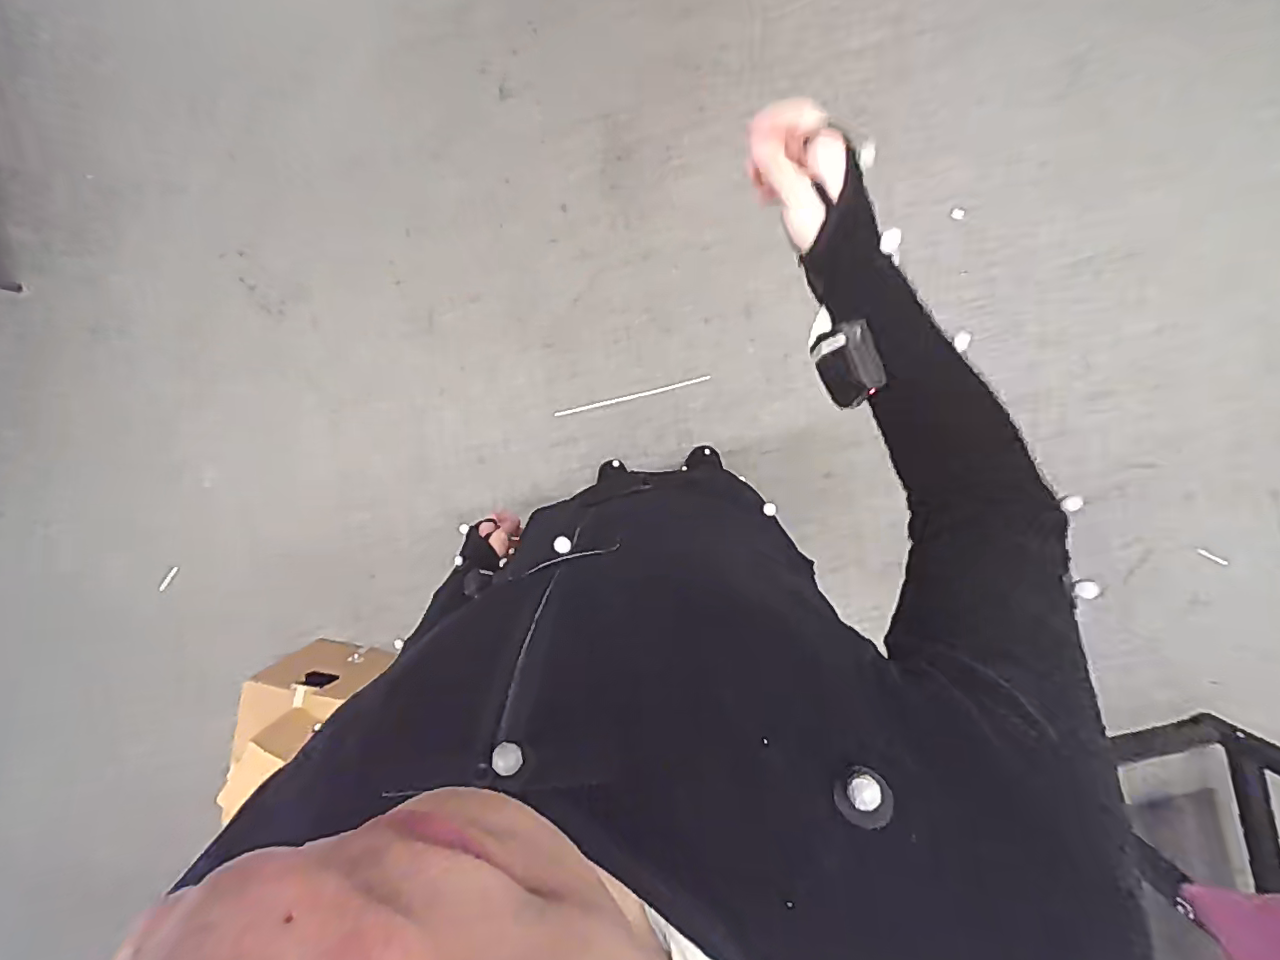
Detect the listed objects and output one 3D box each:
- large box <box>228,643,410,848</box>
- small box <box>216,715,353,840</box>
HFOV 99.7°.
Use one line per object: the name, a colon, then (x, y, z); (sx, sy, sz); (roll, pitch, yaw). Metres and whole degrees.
large box: (-0.888, 0.726, 1.538); (0.320, 0.320, 0.408); (10, 94, 1)
small box: (-0.836, 0.695, 1.289); (0.179, 0.176, 0.168); (30, 93, -1)
